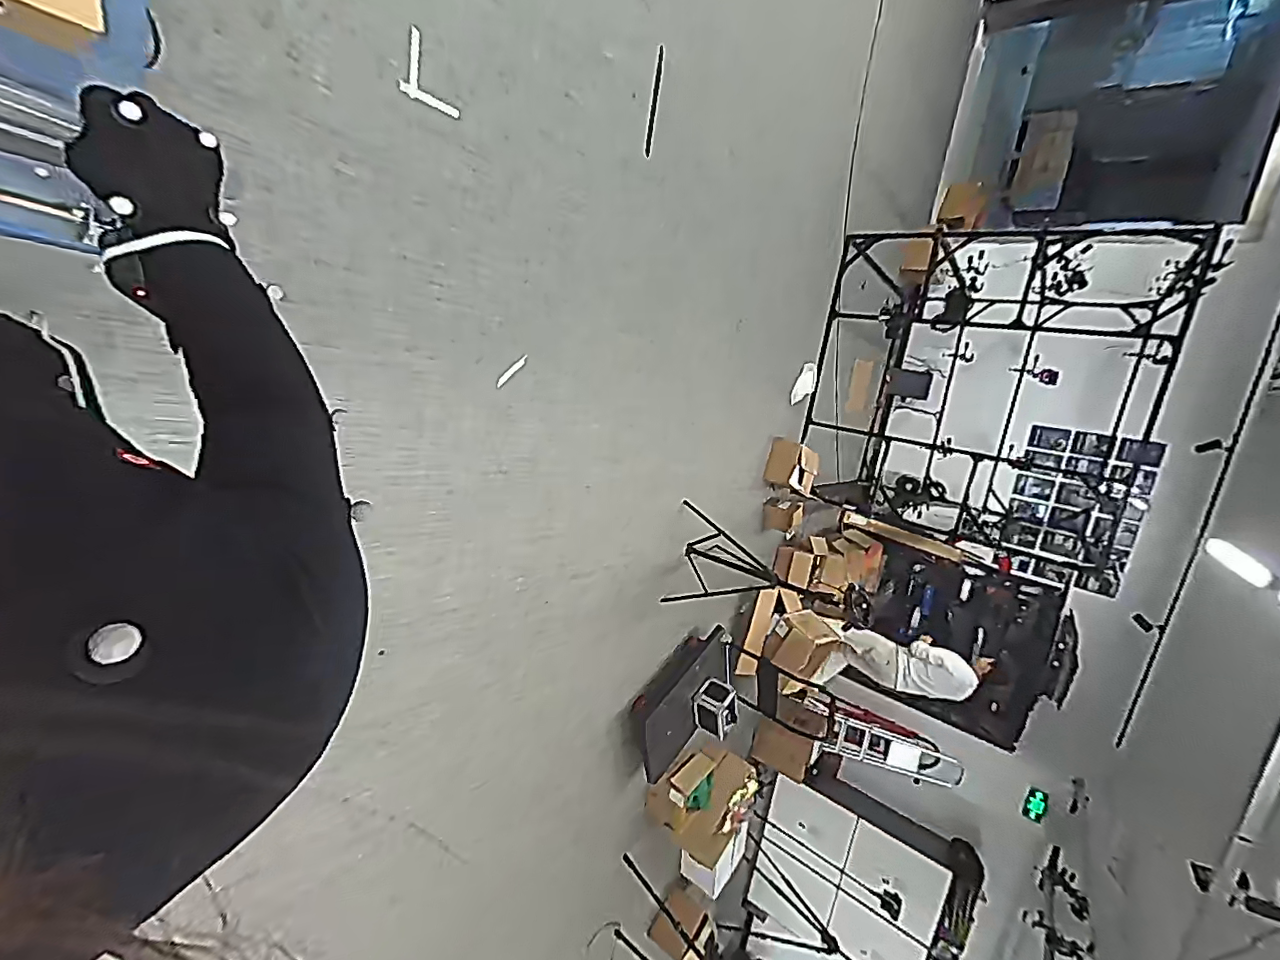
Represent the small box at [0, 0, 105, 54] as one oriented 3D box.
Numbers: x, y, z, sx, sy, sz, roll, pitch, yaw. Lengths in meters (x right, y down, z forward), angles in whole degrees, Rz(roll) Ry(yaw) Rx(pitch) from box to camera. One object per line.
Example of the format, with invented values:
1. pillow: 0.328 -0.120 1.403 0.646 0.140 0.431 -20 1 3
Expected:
1. small box: -0.865 -0.720 0.732 0.179 0.176 0.168 -9 111 -52
